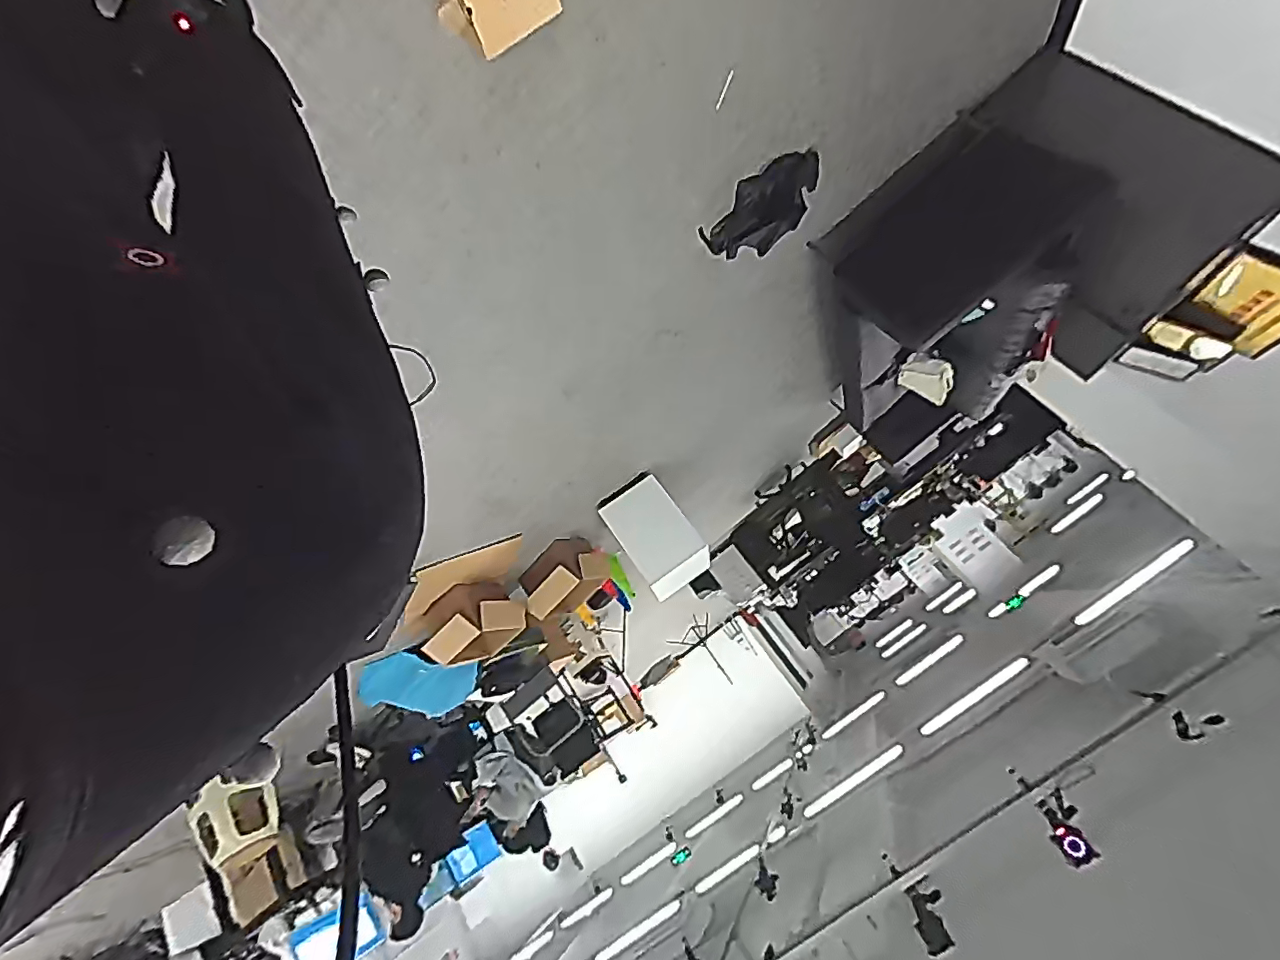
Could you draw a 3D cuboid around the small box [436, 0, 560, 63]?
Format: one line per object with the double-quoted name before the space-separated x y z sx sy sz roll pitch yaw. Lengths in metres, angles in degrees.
"small box" -0.277 -0.914 0.966 0.179 0.176 0.168 -36 158 -2
